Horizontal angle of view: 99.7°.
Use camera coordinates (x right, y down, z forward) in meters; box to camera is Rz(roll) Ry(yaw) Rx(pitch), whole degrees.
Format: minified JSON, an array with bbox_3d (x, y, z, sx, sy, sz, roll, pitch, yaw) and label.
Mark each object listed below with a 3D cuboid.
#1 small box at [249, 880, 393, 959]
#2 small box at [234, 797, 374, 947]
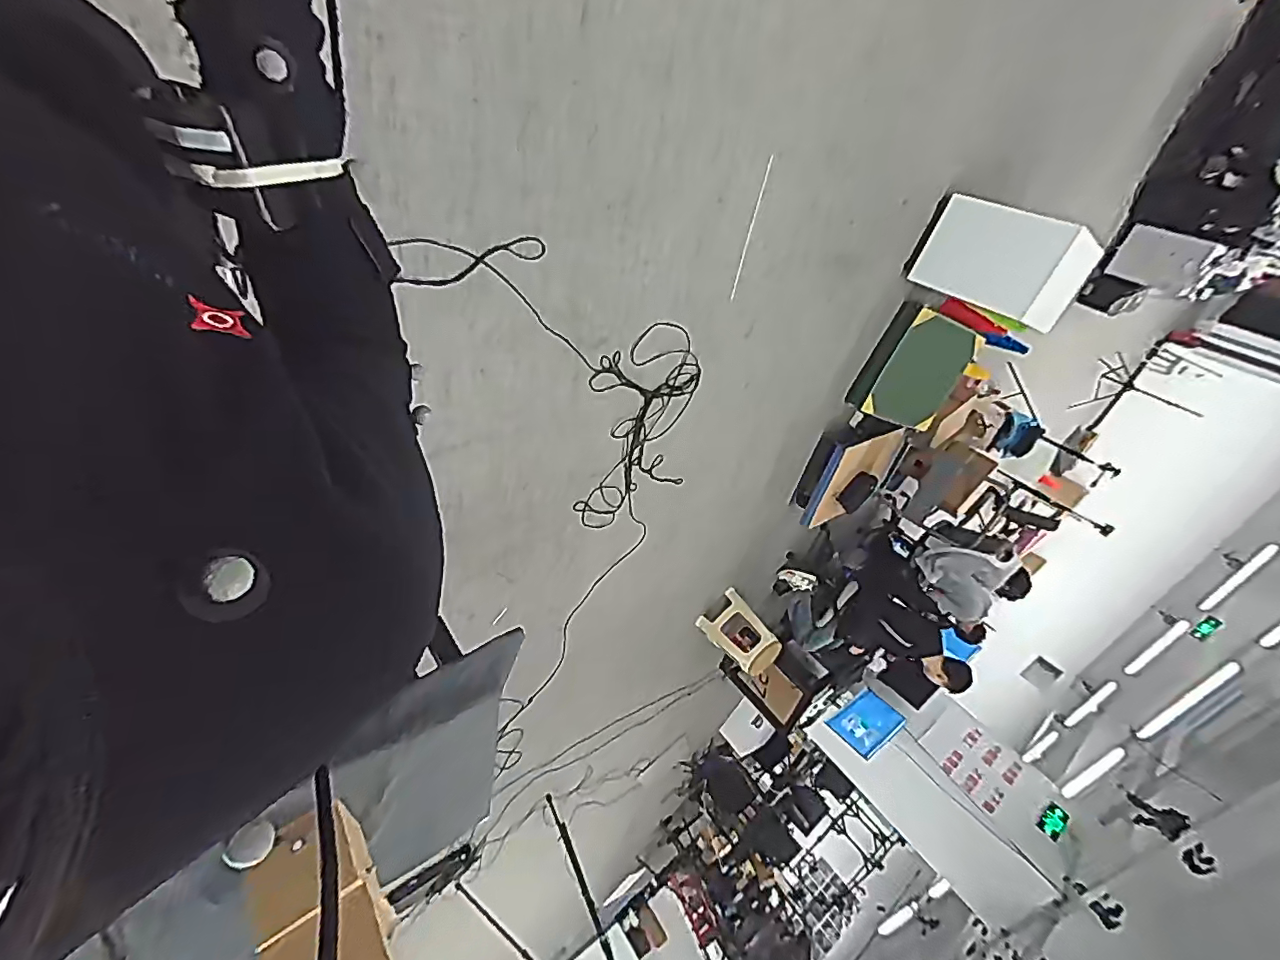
[{"bbox_3d":[-0.535,0.843,0.929,0.179,0.176,0.168,-20,136,-32],"label":"small box"},{"bbox_3d":[-0.627,0.739,1.015,0.168,0.176,0.179,-24,139,-30],"label":"small box"}]
